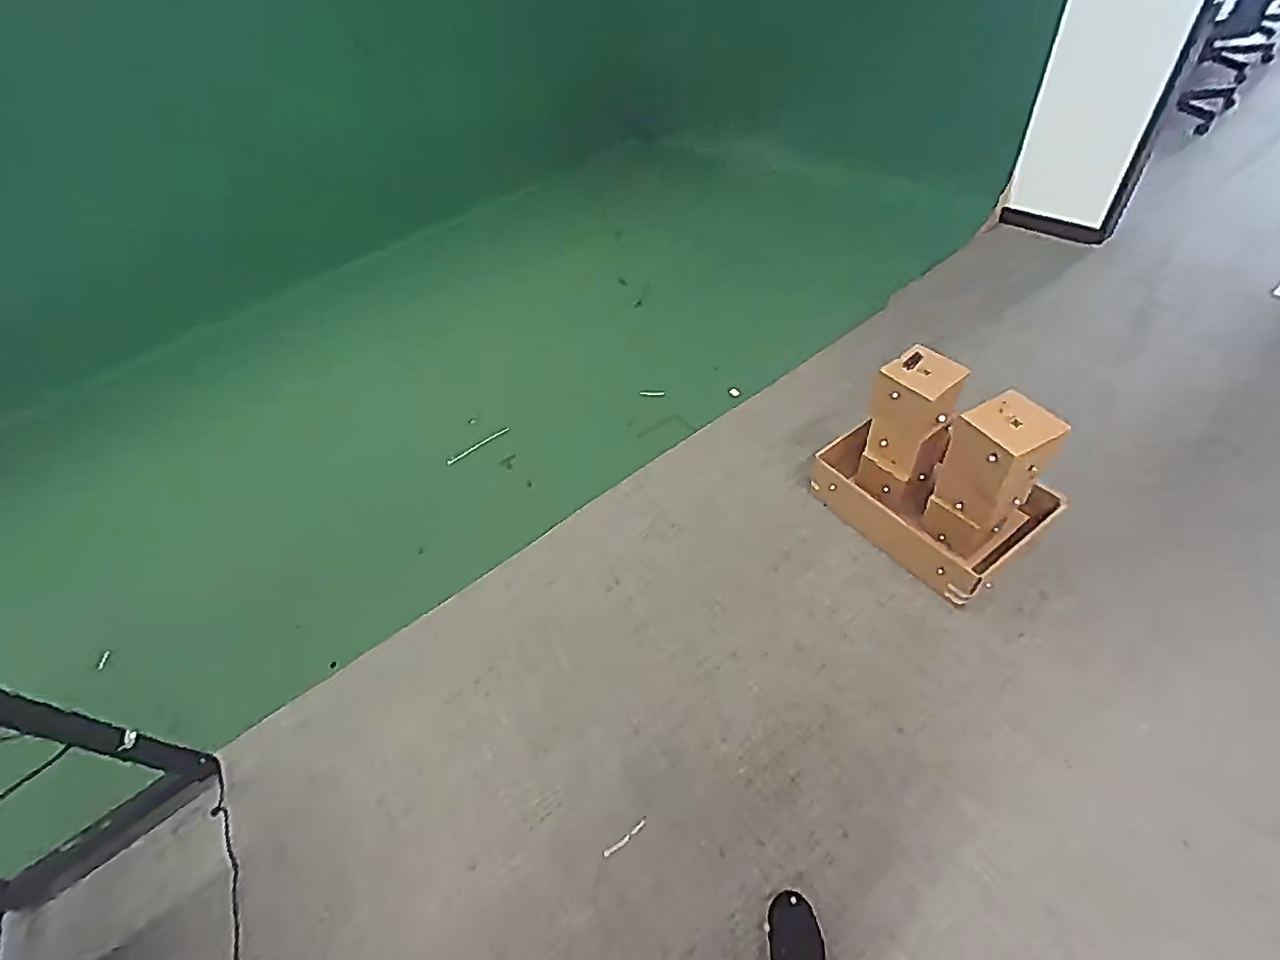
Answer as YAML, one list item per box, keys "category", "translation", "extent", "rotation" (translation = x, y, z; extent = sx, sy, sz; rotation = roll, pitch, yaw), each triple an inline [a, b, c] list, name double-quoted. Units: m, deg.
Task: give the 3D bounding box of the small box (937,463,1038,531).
- category: "small box"
  translation: [0.975, 0.020, 1.513]
  extent: [0.168, 0.176, 0.179]
  rotation: [-31, 49, -12]

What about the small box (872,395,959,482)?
- category: "small box"
  translation: [0.845, -0.126, 1.678]
  extent: [0.179, 0.176, 0.168]
  rotation: [-34, 53, -16]

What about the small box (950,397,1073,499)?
- category: "small box"
  translation: [0.936, -0.073, 1.381]
  extent: [0.168, 0.176, 0.179]
  rotation: [-25, 48, -7]
